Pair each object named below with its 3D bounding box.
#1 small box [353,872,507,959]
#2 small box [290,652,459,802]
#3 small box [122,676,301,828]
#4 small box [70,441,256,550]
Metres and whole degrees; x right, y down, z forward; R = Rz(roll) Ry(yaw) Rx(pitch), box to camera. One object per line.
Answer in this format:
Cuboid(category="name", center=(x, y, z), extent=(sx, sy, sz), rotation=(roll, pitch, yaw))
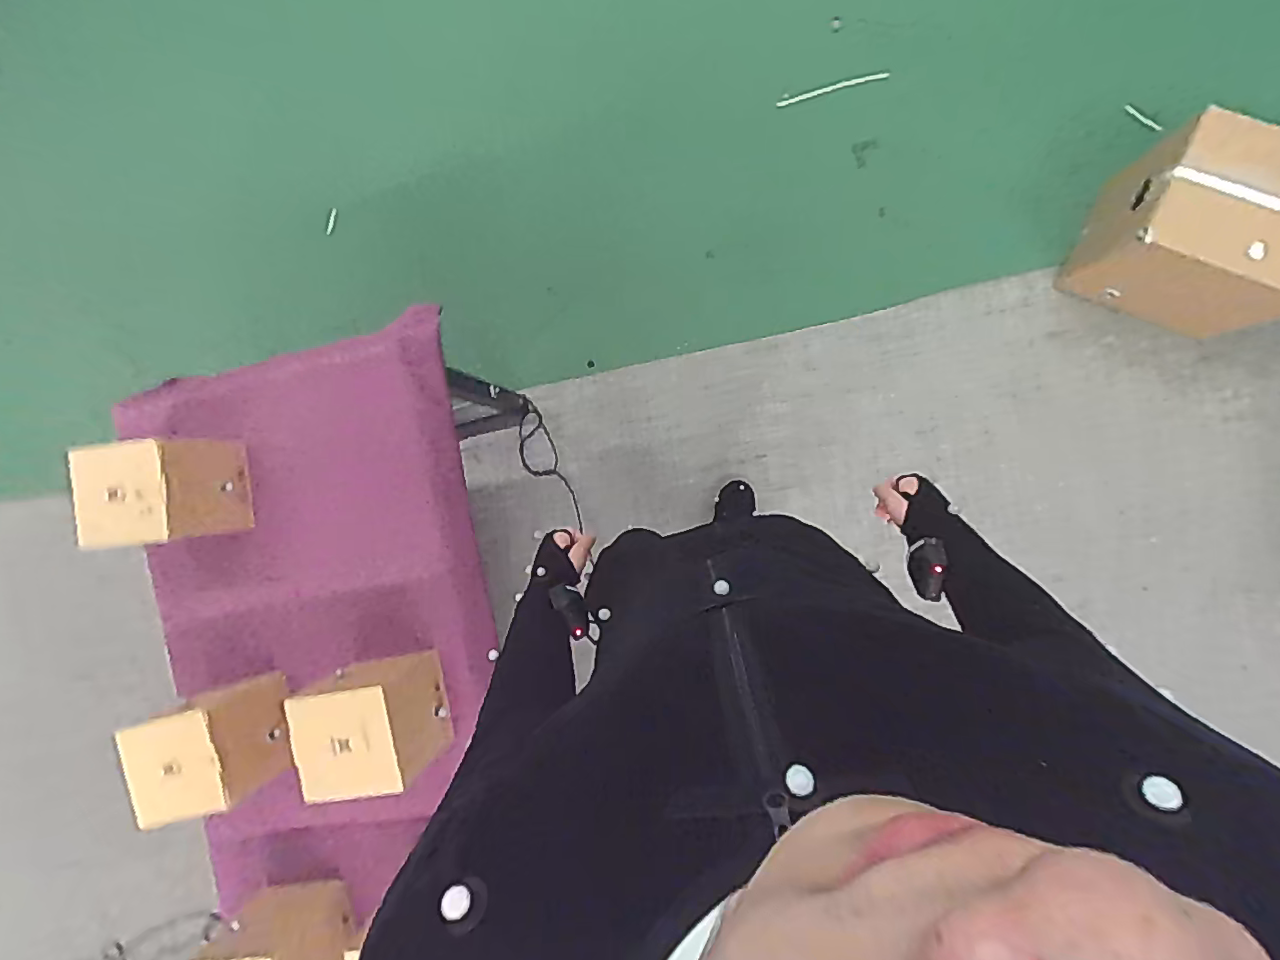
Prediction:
Cuboid(category="small box", center=(-0.336, 0.792, 0.902), extent=(0.179, 0.176, 0.168), rotation=(-10, 90, 10))
Cuboid(category="small box", center=(-0.435, 0.405, 0.909), extent=(0.179, 0.176, 0.168), rotation=(-12, 91, 9))
Cuboid(category="small box", center=(-0.738, 0.469, 0.954), extent=(0.179, 0.176, 0.168), rotation=(-17, 89, 7))
Cuboid(category="small box", center=(-0.828, 0.025, 0.952), extent=(0.179, 0.176, 0.168), rotation=(-6, 92, 7))
